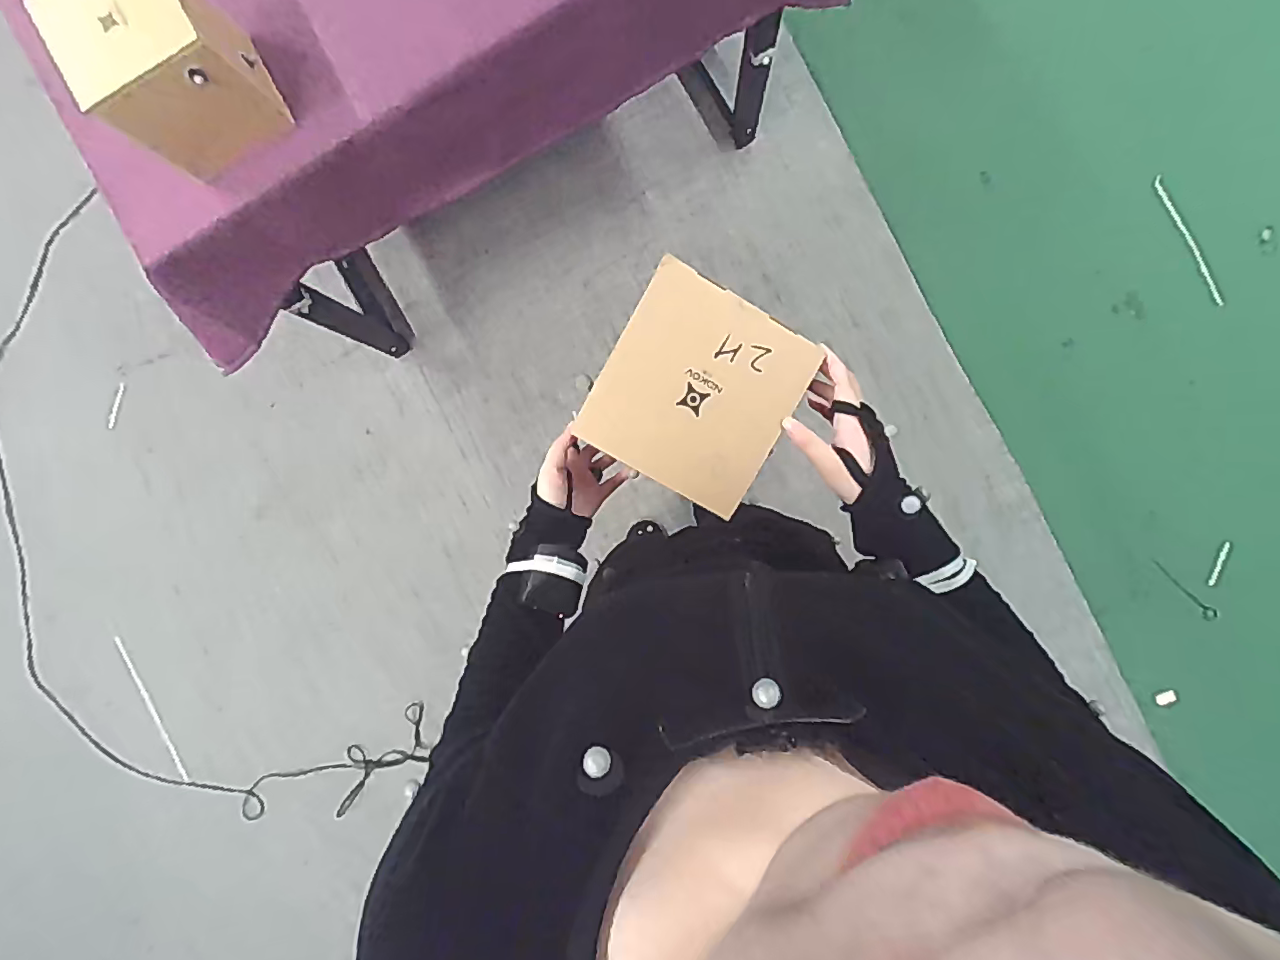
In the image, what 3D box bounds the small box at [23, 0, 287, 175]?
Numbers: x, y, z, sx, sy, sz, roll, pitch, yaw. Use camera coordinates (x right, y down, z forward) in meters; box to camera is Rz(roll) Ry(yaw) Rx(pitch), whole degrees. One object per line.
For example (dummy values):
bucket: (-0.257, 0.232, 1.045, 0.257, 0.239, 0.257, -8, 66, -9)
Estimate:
small box: (-0.636, -0.561, 0.731, 0.179, 0.176, 0.168, -30, 88, 2)
